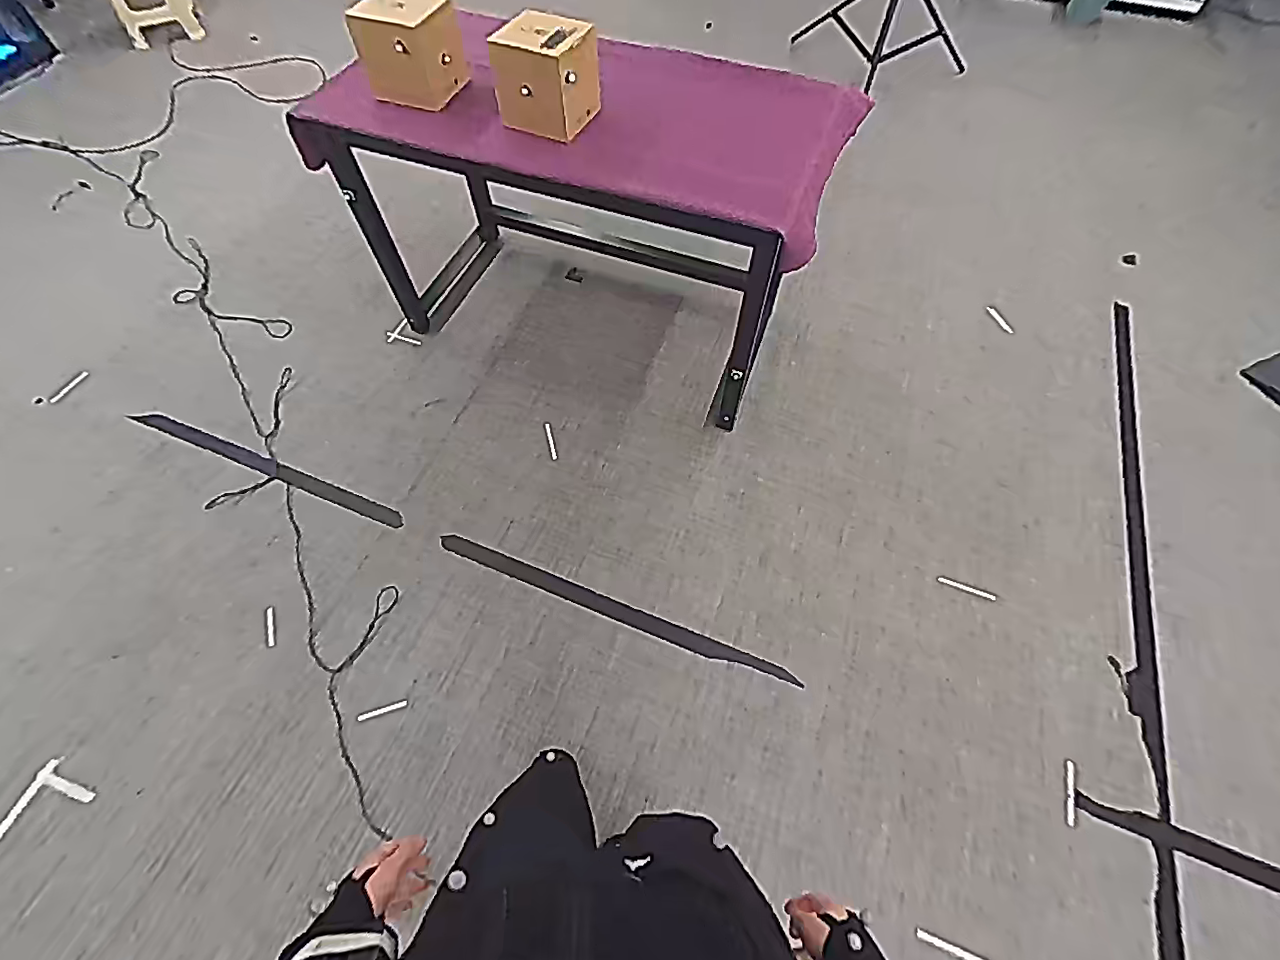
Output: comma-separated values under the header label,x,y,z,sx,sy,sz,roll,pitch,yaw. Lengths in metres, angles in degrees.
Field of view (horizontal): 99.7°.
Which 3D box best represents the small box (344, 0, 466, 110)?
label,x,y,z,sx,sy,sz,roll,pitch,yaw
small box,-0.532,-0.996,1.256,0.179,0.176,0.168,16,61,9
